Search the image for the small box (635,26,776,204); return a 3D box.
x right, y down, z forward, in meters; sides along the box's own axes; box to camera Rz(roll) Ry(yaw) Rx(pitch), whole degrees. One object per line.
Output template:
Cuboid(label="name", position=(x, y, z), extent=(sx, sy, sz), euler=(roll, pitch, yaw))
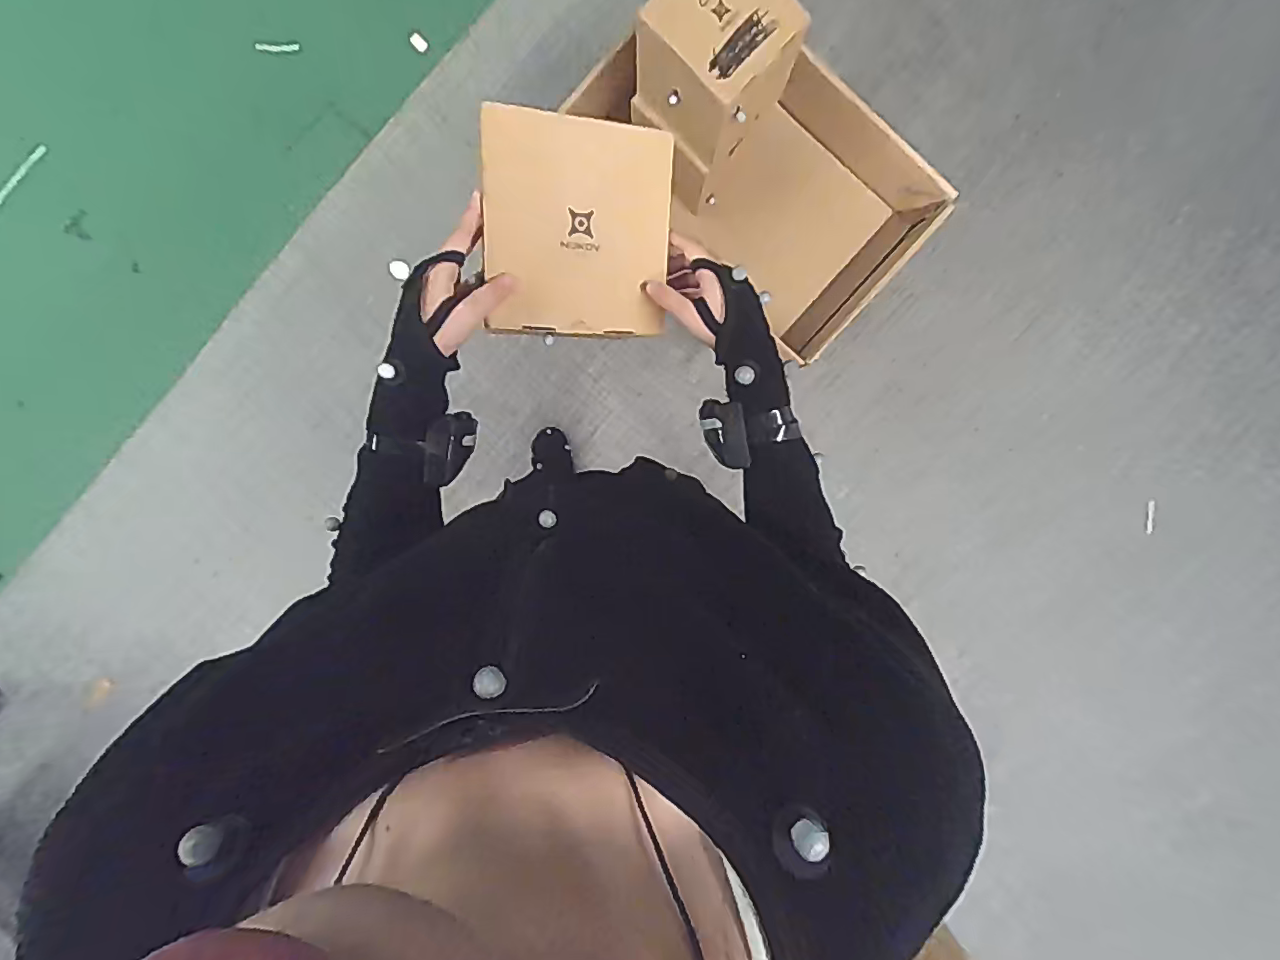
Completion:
Cuboid(label="small box", position=(0.109, -0.630, 0.966), extent=(0.179, 0.176, 0.168), euler=(43, 92, -2))

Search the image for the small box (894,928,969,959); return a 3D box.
Cuboid(label="small box", position=(0.650, 1.125, 1.145), extent=(0.168, 0.176, 0.179), euler=(38, 93, -1))
